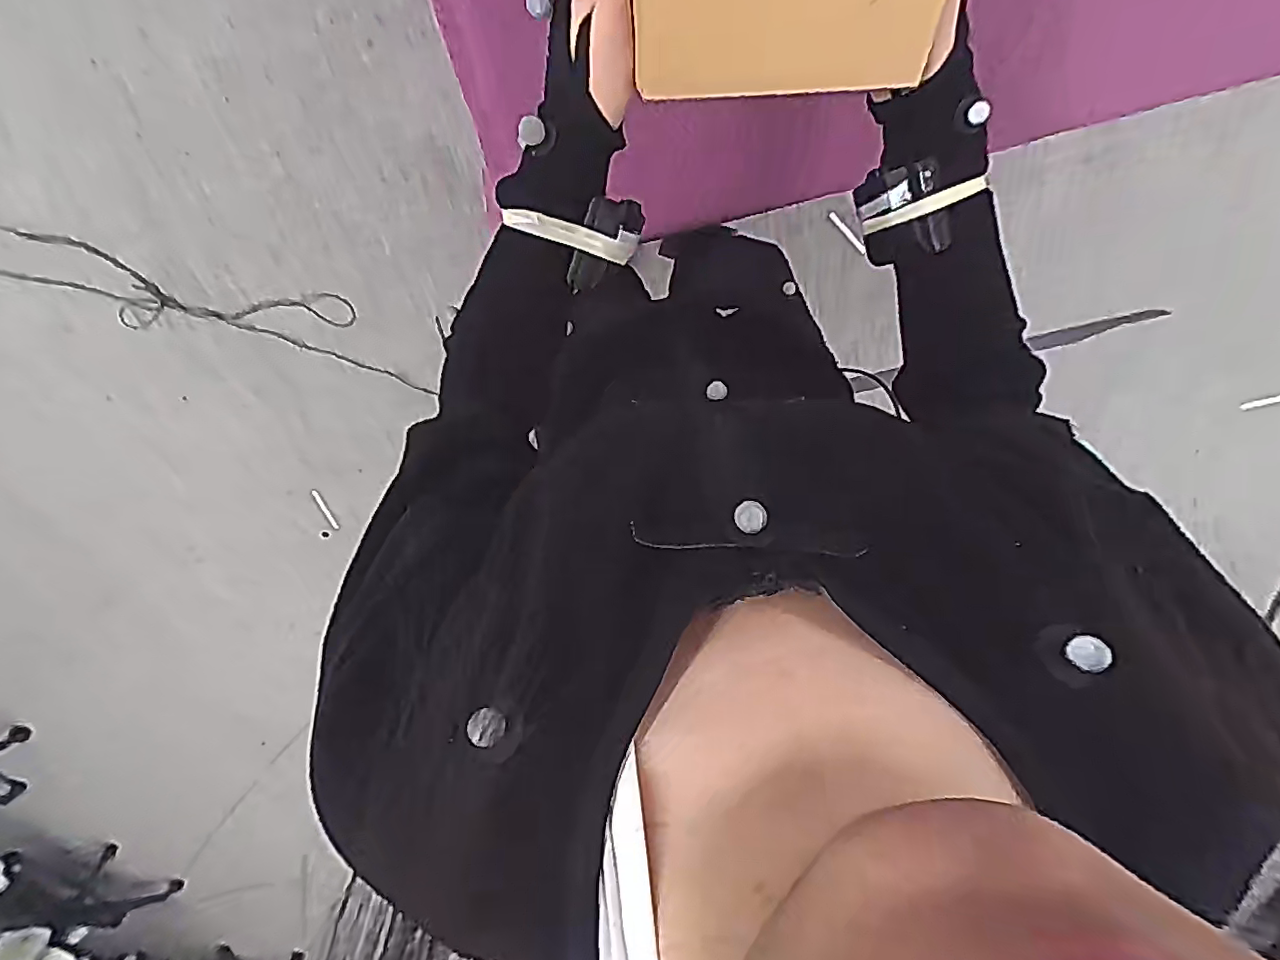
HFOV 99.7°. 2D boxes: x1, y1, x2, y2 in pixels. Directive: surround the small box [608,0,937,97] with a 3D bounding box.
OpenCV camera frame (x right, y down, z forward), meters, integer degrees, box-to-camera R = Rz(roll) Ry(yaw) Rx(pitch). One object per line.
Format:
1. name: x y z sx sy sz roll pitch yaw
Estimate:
1. small box: 0.067 -0.338 0.299 0.168 0.176 0.179 -6 137 -5
